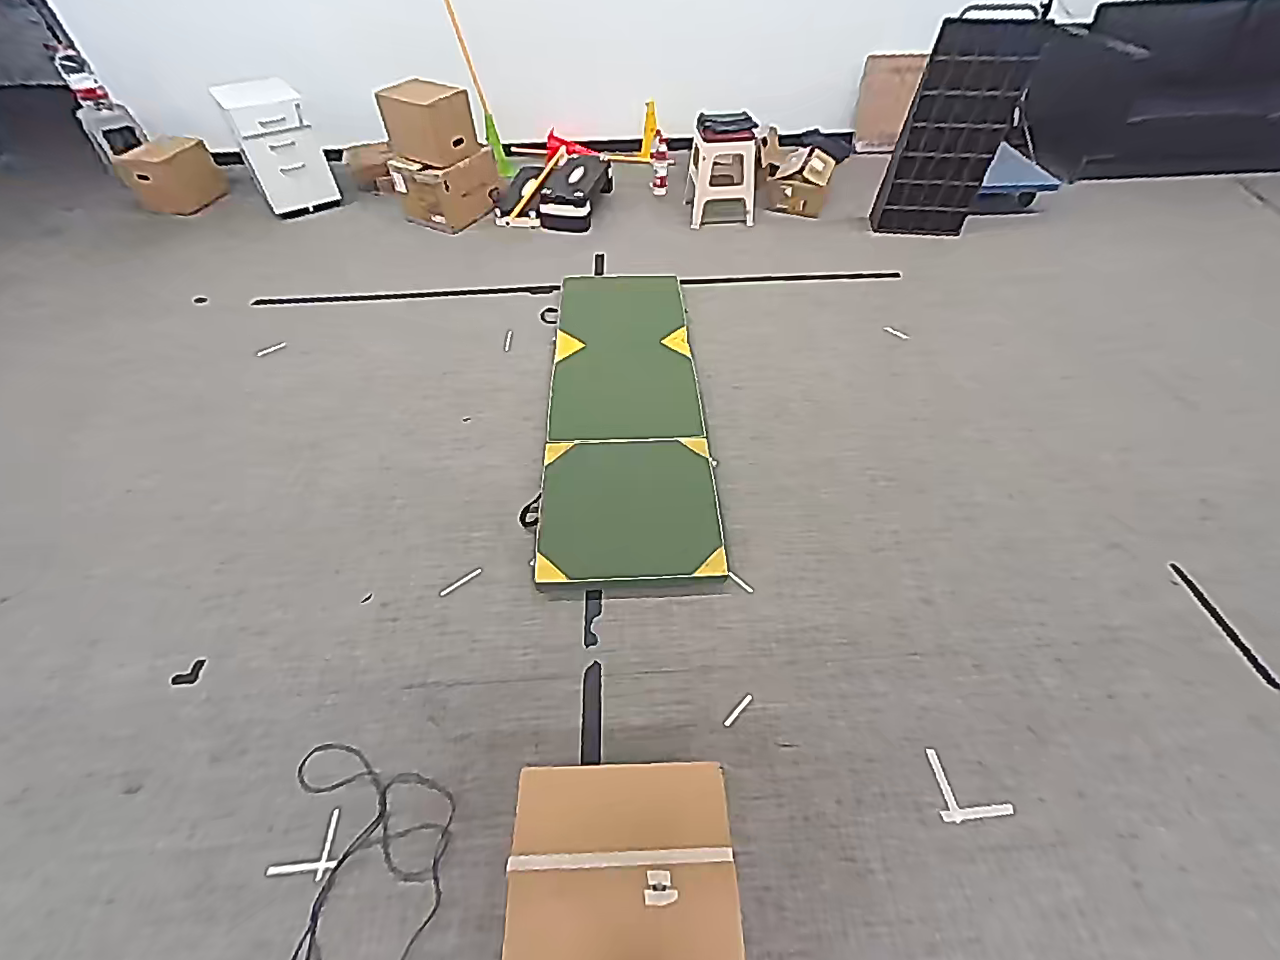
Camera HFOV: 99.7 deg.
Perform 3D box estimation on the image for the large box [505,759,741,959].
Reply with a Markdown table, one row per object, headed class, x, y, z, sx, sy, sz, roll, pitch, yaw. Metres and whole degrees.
| class | x | y | z | sx | sy | sz | roll | pitch | yaw |
| --- | --- | --- | --- | --- | --- | --- | --- | --- | --- |
| large box | -0.037 | 0.788 | 1.103 | 0.408 | 0.320 | 0.320 | -1 | 49 | -2 |
